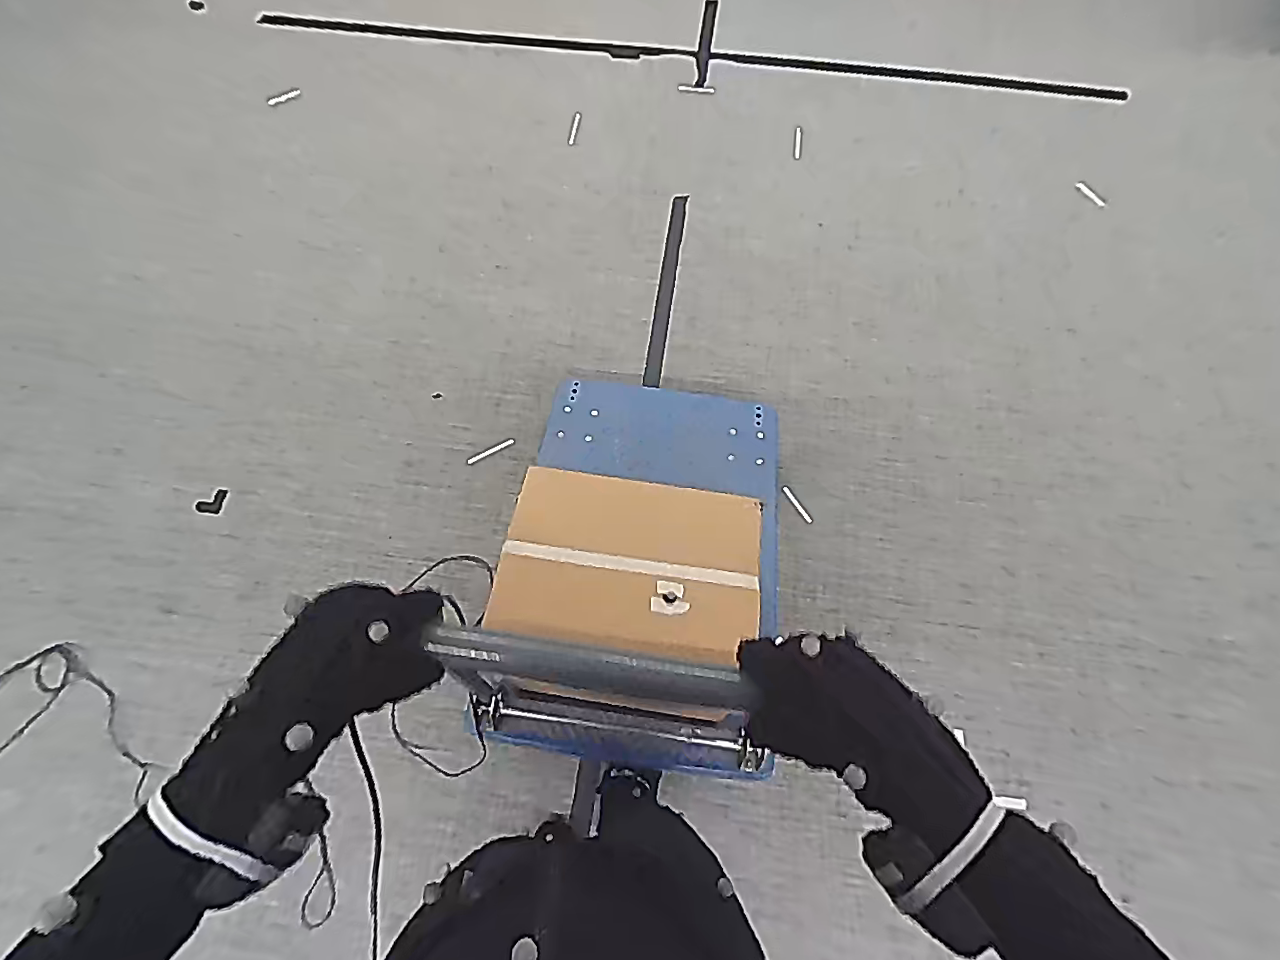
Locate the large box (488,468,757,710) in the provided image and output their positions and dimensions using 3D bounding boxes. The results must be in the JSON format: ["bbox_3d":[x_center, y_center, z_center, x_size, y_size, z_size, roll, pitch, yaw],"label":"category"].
[{"bbox_3d":[-0.022,0.210,0.993,0.408,0.320,0.320,9,59,1],"label":"large box"}]
